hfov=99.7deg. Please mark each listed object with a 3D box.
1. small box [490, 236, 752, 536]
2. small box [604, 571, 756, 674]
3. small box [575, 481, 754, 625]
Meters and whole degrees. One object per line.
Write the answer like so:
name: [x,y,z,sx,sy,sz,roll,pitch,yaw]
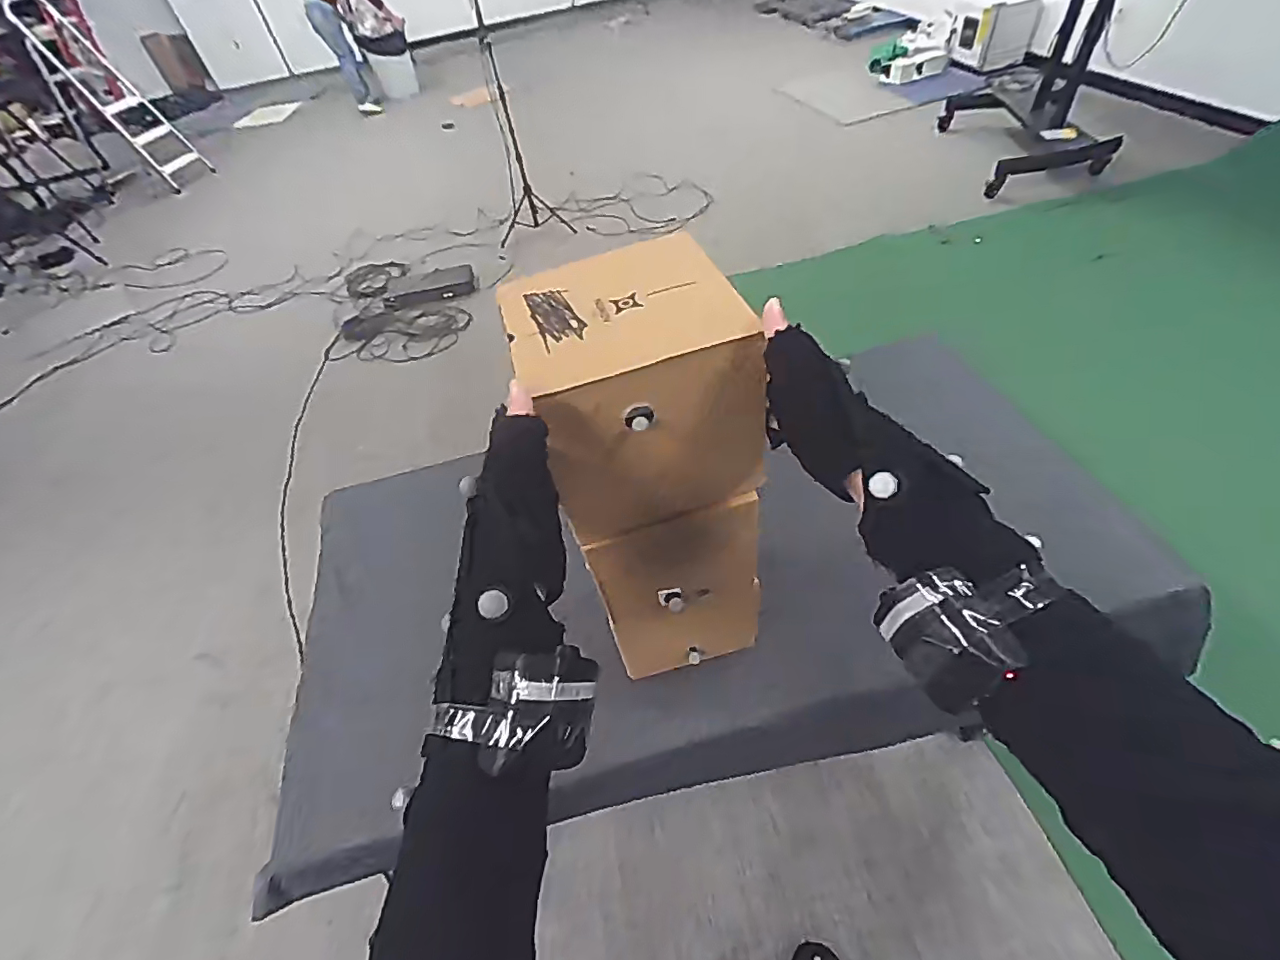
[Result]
small box: [-0.012,-0.076,0.470,0.179,0.176,0.168,-18,49,-3]
small box: [0.041,0.133,0.718,0.179,0.176,0.168,-15,49,-3]
small box: [0.016,0.030,0.594,0.168,0.176,0.179,-17,50,-1]
